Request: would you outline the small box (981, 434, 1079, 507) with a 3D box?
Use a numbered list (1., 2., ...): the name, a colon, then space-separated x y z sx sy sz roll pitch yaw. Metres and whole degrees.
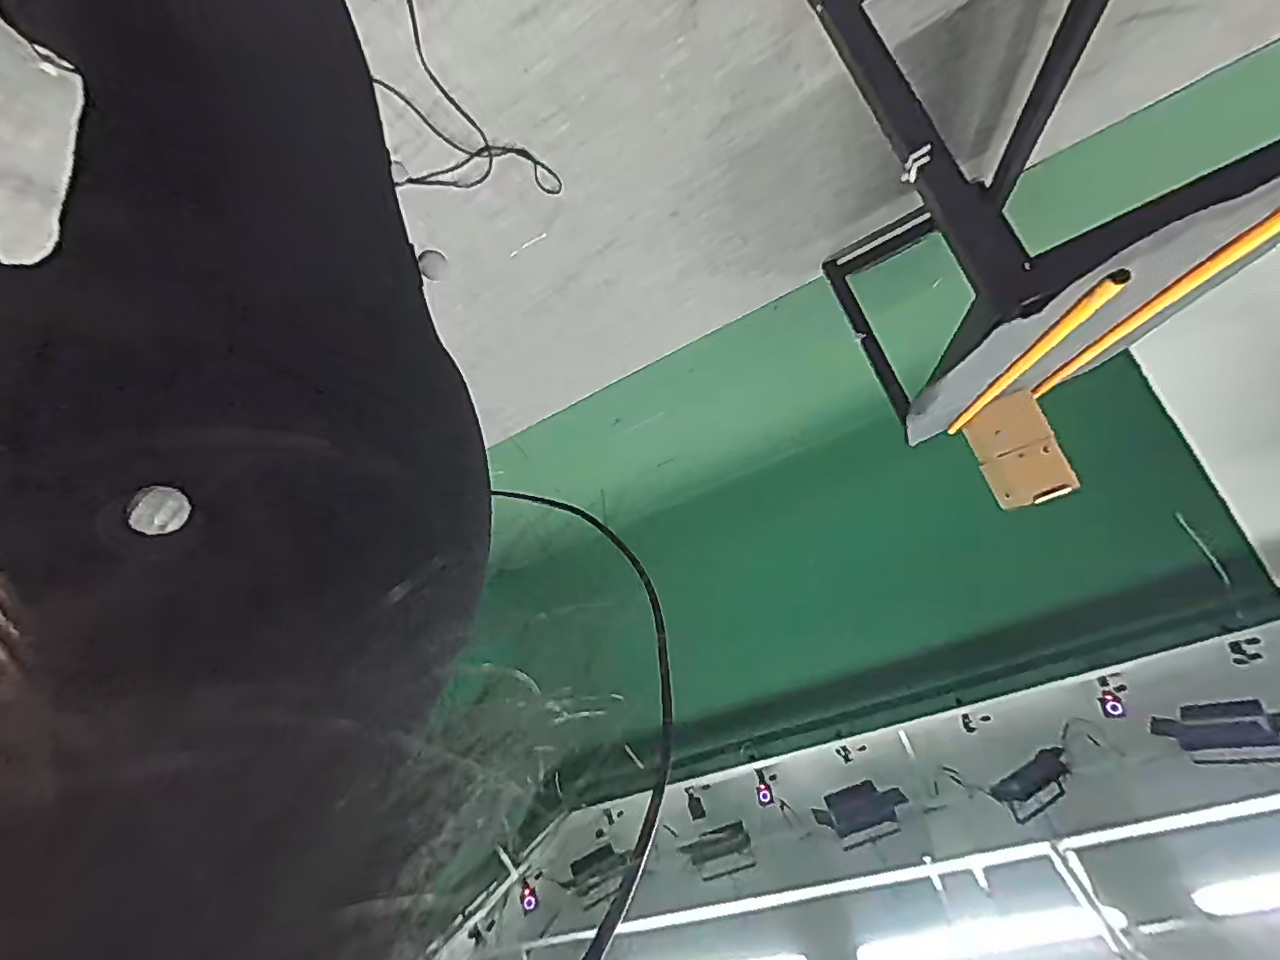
1. small box: 1.221 -0.030 1.710 0.168 0.176 0.179 -23 167 11
